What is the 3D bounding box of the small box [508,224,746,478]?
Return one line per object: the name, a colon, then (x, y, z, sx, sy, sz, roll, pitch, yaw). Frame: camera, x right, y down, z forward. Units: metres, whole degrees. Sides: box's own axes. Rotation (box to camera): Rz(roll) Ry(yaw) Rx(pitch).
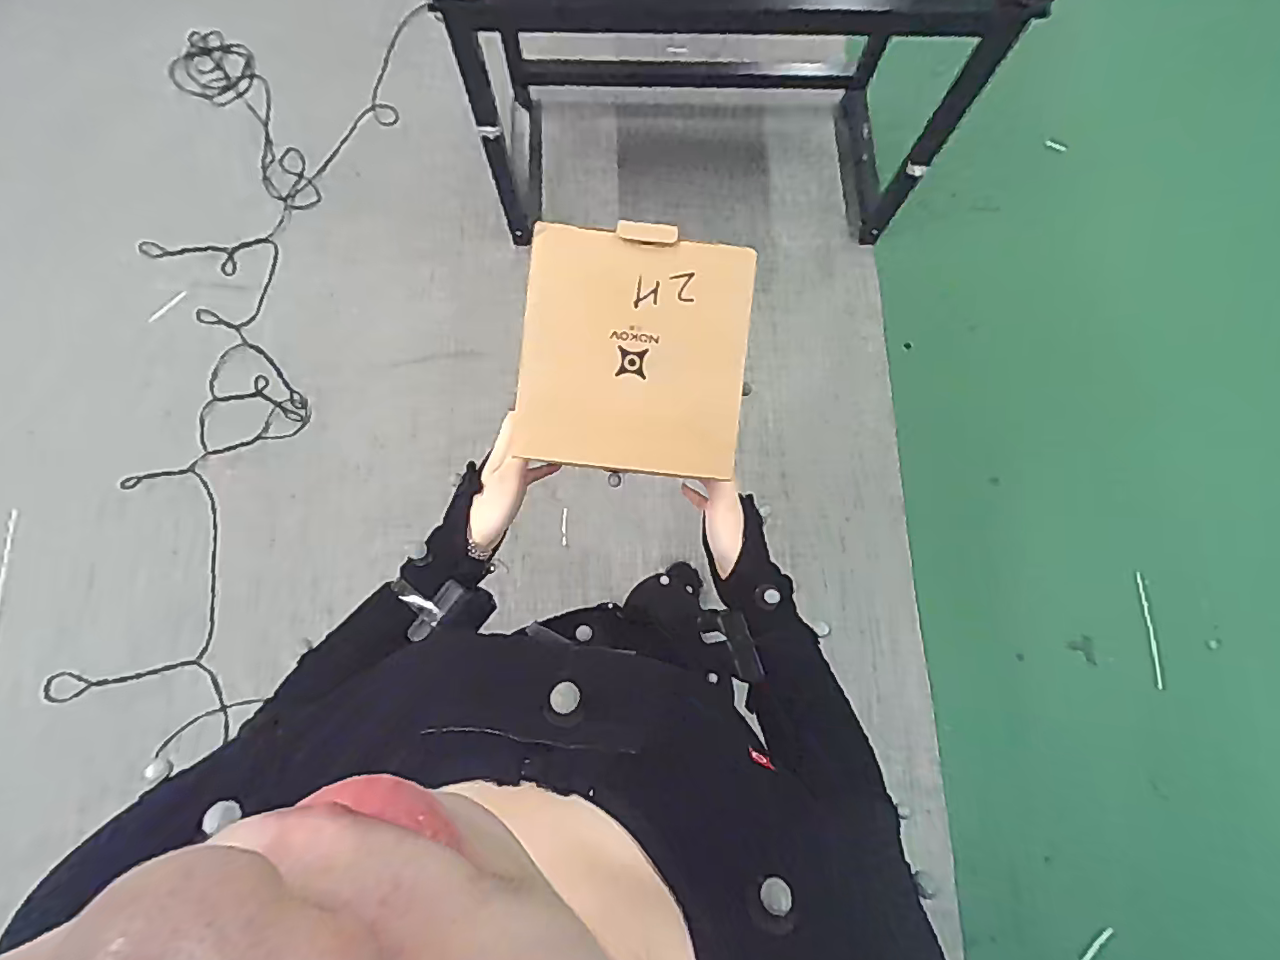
small box: (-0.012, -0.097, 0.482, 0.168, 0.176, 0.179, 5, 90, -3)
